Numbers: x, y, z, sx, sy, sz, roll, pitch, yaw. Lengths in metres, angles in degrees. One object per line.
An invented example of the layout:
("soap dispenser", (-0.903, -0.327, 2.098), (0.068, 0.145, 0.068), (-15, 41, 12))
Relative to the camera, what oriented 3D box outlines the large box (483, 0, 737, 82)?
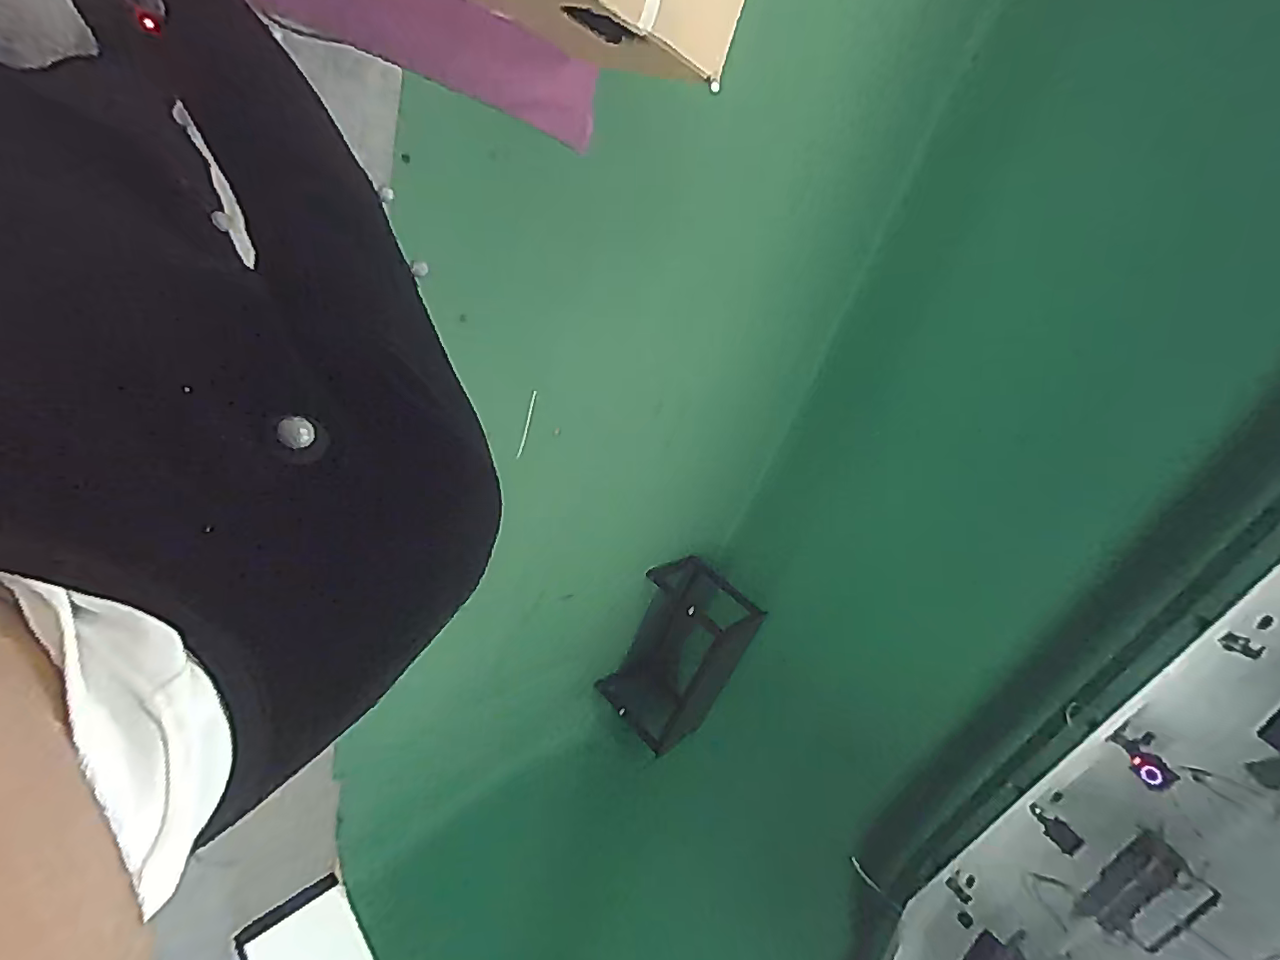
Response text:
("large box", (-0.046, -0.753, 0.597), (0.320, 0.320, 0.408), (-12, 132, -47))
